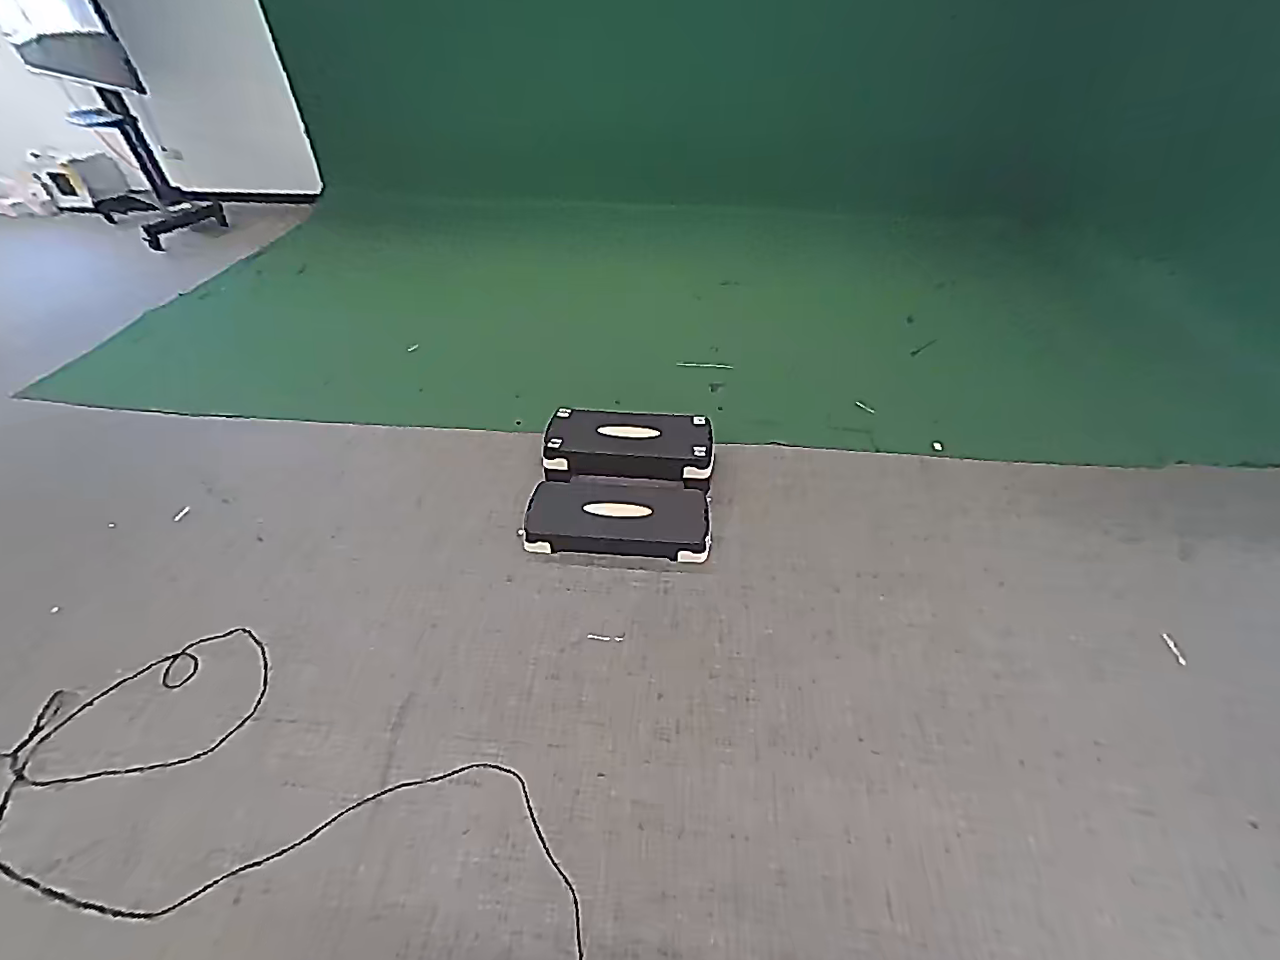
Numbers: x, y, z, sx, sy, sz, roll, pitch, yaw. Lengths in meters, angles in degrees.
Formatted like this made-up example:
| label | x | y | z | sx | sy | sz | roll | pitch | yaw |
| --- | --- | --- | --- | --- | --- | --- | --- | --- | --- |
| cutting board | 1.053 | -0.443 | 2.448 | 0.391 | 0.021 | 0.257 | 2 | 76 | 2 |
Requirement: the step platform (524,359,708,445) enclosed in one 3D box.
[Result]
| label | x | y | z | sx | sy | sz | roll | pitch | yaw |
| --- | --- | --- | --- | --- | --- | --- | --- | --- | --- |
| step platform | -0.085 | -0.300 | 2.082 | 0.684 | 0.204 | 0.286 | 3 | 44 | 4 |
